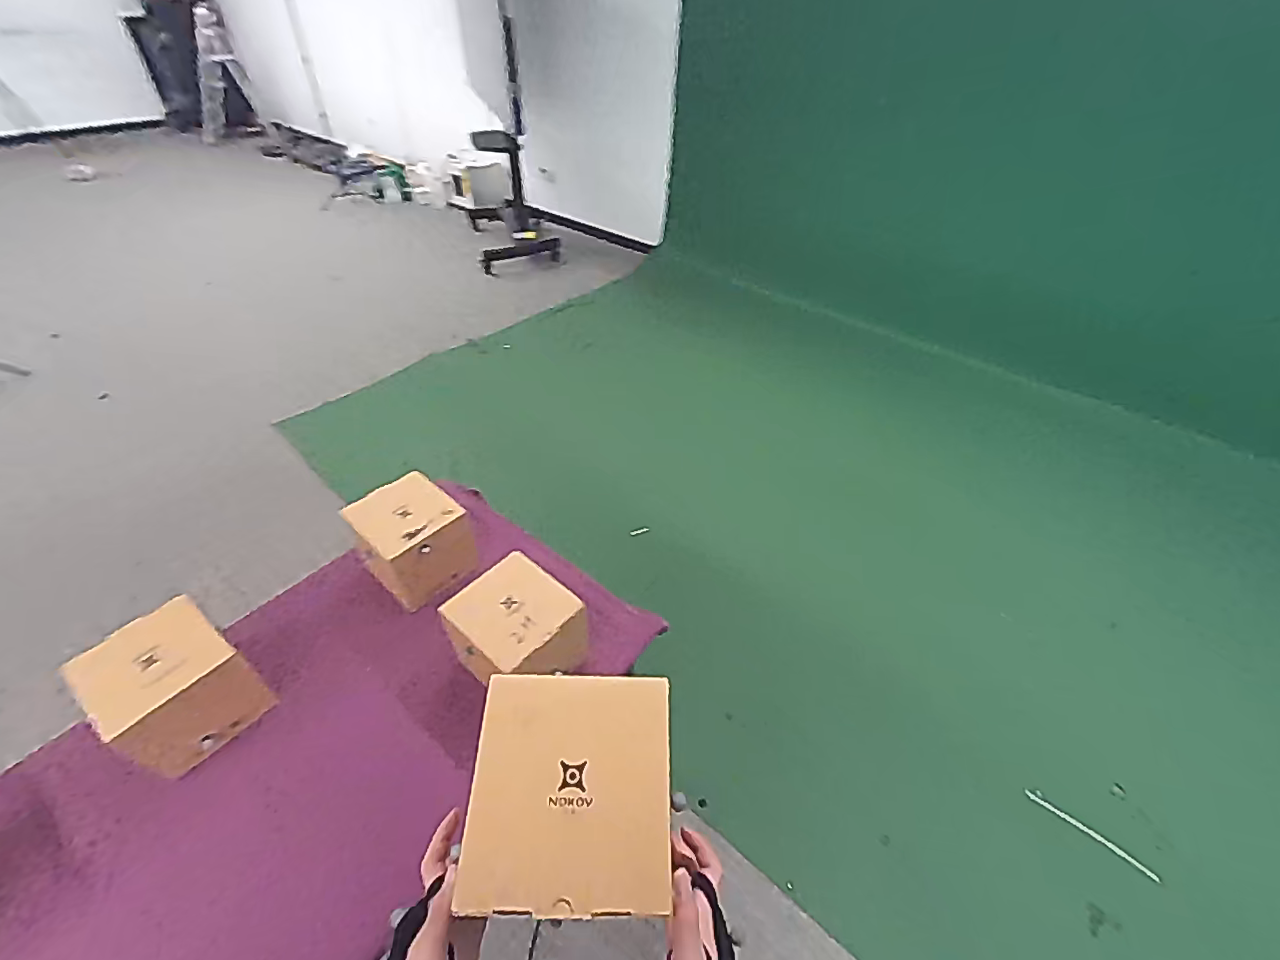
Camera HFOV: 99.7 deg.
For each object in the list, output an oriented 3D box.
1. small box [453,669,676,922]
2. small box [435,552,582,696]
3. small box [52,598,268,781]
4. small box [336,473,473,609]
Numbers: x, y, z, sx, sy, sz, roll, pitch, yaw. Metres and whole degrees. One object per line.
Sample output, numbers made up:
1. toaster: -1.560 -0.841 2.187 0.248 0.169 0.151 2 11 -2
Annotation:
1. small box: -0.056 0.291 0.503 0.168 0.176 0.179 2 55 -1
2. small box: -0.218 0.264 0.927 0.179 0.176 0.168 31 51 27
3. small box: -0.731 0.326 0.840 0.179 0.176 0.168 29 49 25
4. small box: -0.461 0.123 1.074 0.179 0.176 0.168 31 50 28
